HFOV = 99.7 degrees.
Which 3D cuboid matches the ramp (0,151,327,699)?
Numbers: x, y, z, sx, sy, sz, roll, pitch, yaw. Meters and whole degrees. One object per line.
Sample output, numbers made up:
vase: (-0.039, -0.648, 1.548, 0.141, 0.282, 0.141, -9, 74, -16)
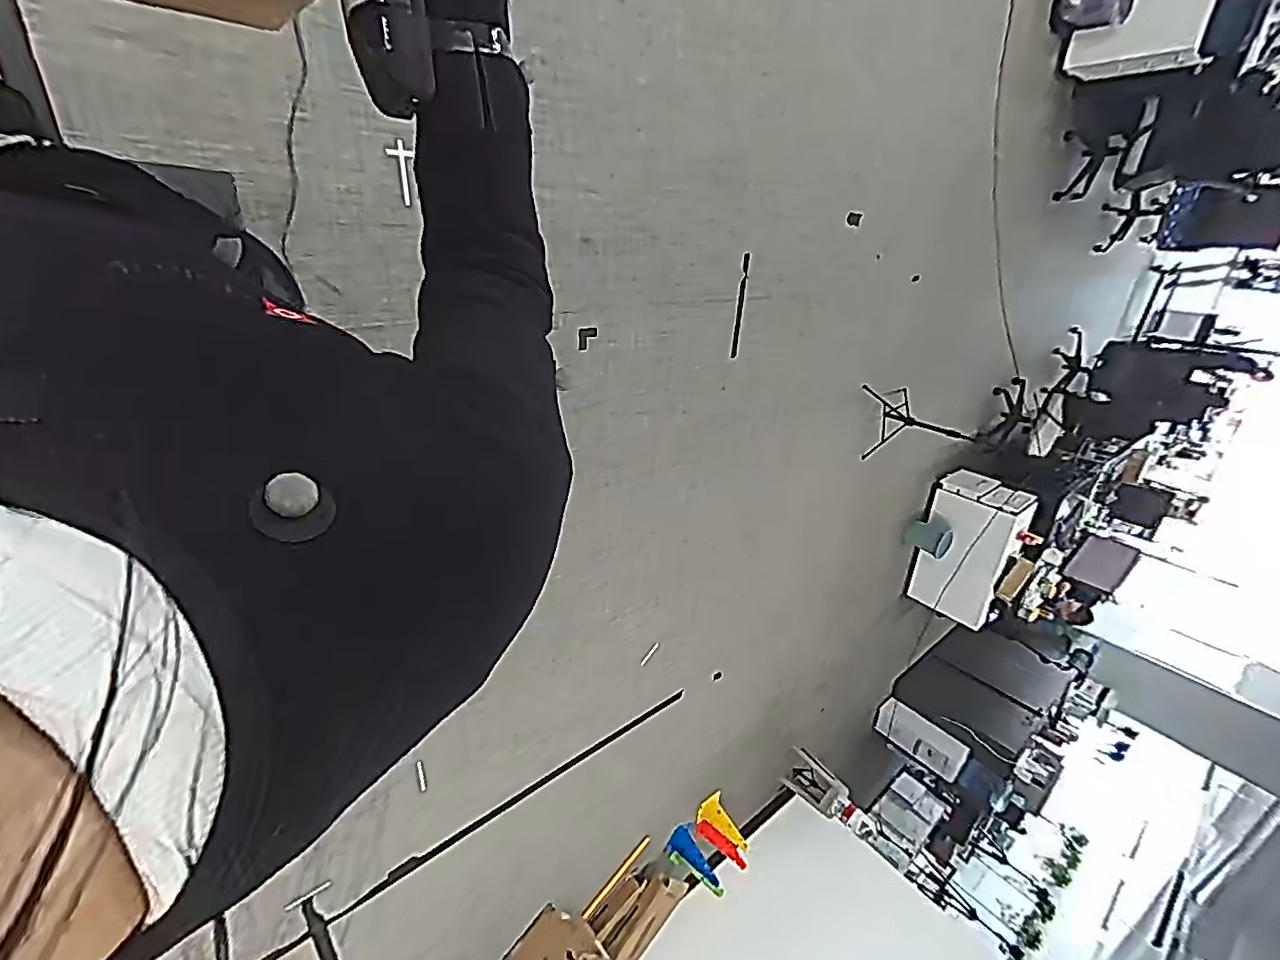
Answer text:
ramp: (-1.000, -0.090, 1.085, 0.509, 0.206, 0.991, -15, 119, -35)
